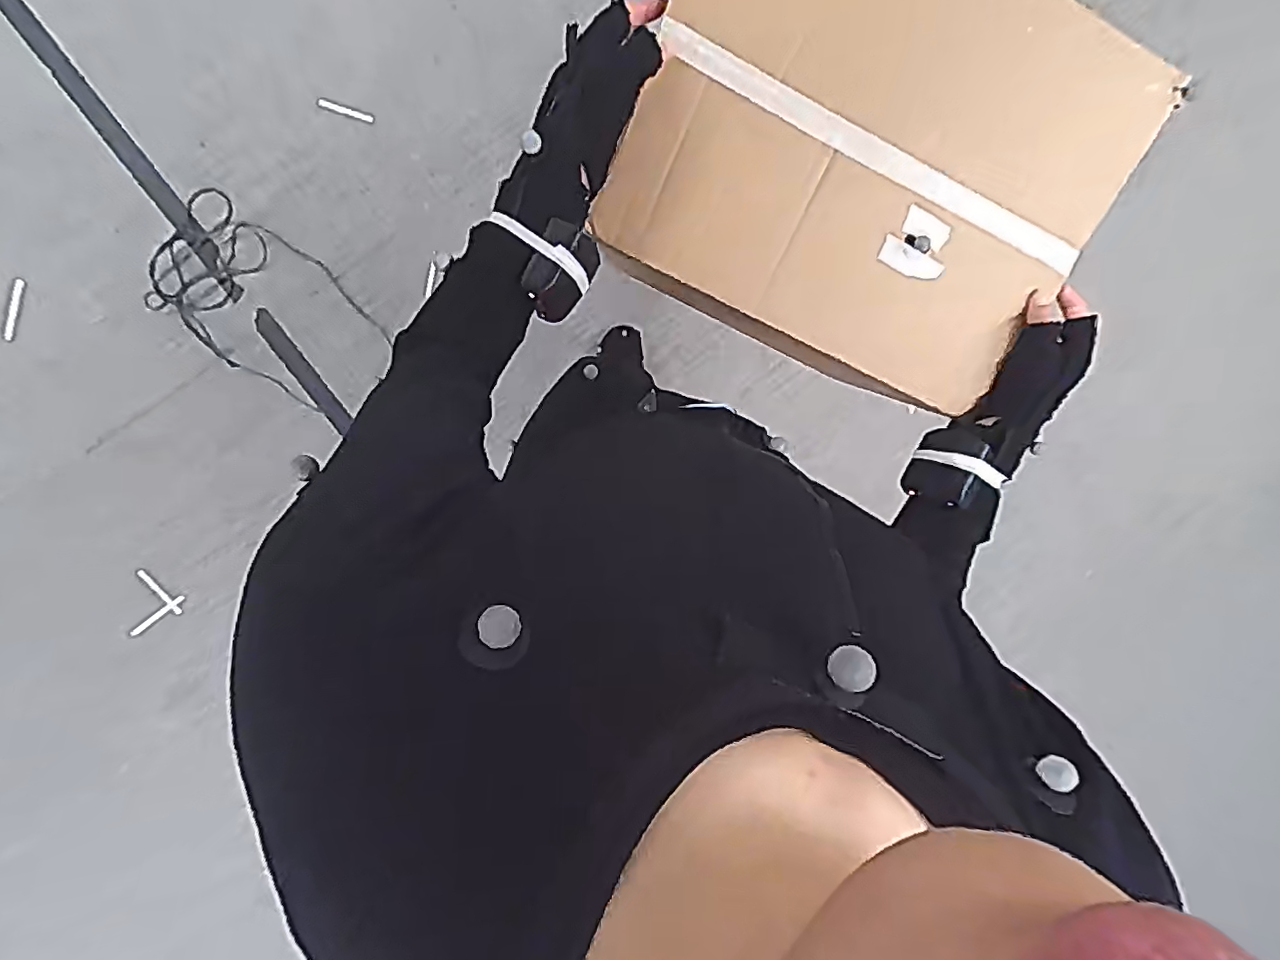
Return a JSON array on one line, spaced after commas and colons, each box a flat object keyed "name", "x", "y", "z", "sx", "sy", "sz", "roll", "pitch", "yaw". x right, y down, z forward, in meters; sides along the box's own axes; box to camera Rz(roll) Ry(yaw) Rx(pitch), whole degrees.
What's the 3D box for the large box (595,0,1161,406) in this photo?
[{"name": "large box", "x": 0.192, "y": -0.324, "z": 0.604, "sx": 0.408, "sy": 0.320, "sz": 0.320, "roll": 24, "pitch": 106, "yaw": -10}]
